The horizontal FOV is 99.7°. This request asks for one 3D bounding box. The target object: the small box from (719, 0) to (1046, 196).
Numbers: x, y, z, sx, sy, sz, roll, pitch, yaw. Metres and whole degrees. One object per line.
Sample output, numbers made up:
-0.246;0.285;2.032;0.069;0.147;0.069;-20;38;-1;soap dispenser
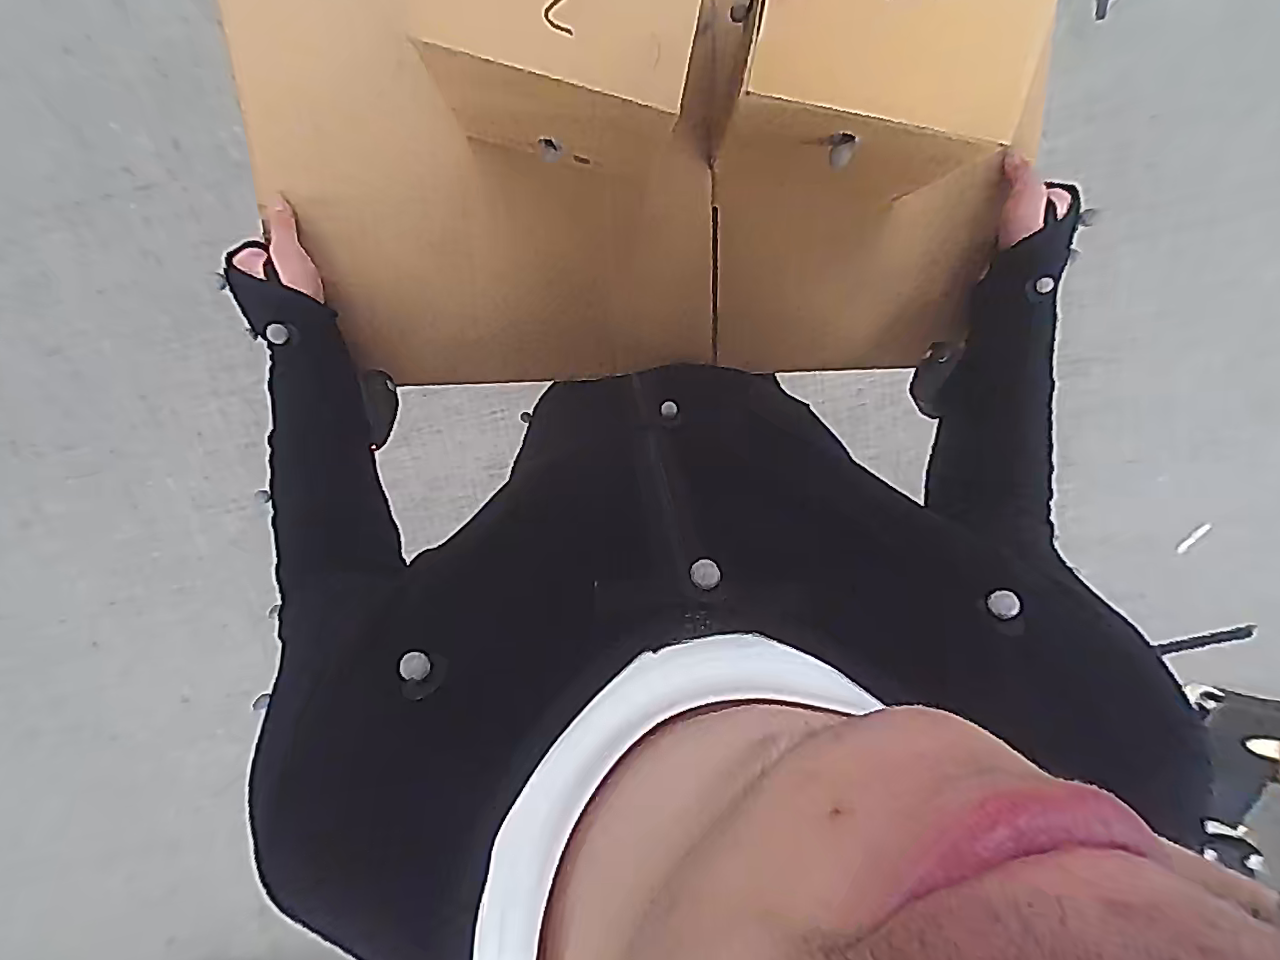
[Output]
0.169;-0.332;0.410;0.179;0.176;0.168;10;106;-1;small box
